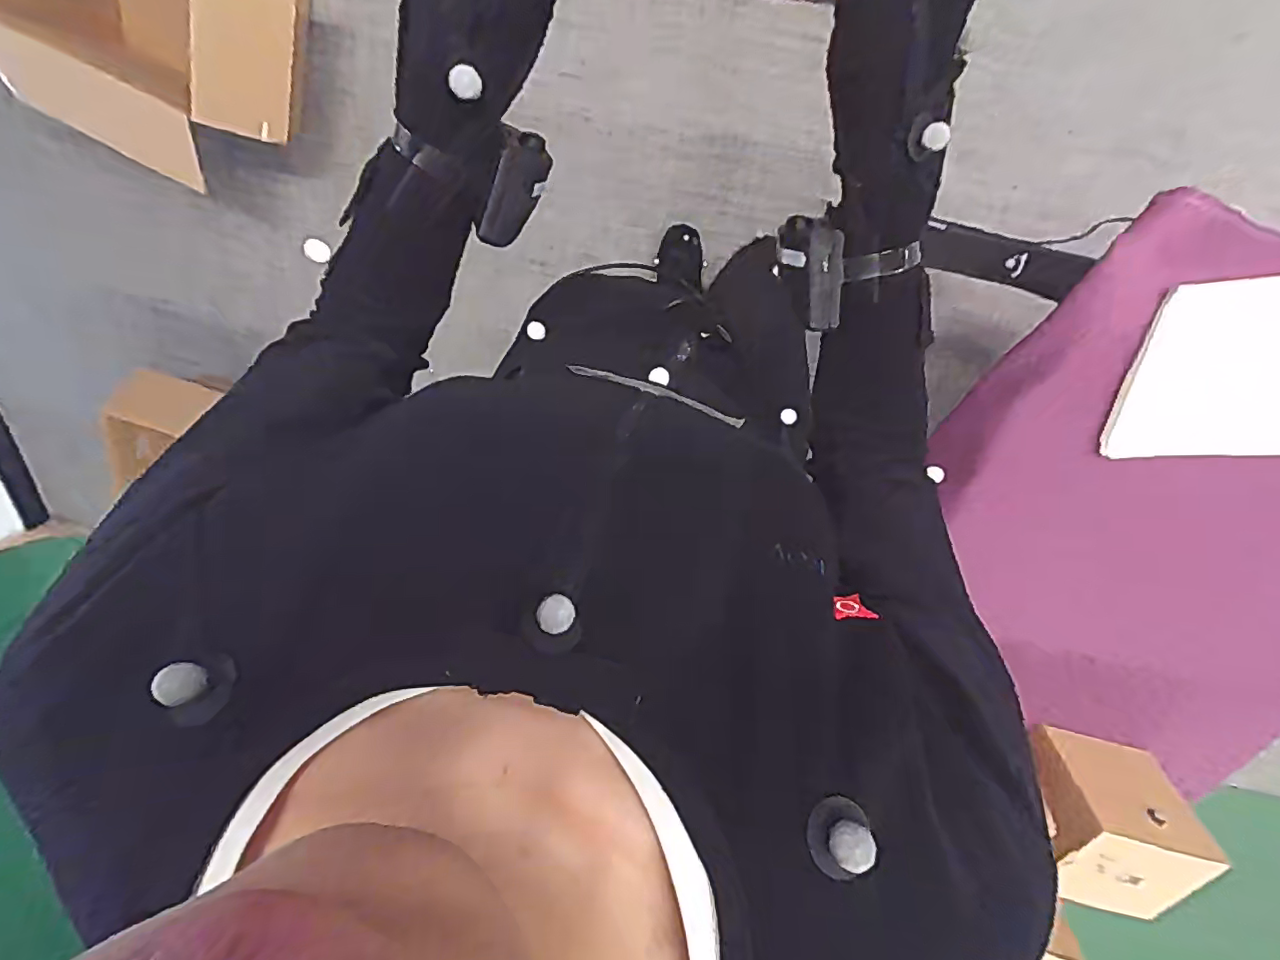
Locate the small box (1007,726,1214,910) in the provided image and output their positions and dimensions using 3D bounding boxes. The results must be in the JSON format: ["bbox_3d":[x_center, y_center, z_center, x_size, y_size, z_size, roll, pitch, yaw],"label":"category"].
[{"bbox_3d":[0.685,0.513,0.835,0.179,0.176,0.168,15,120,1],"label":"small box"}]
